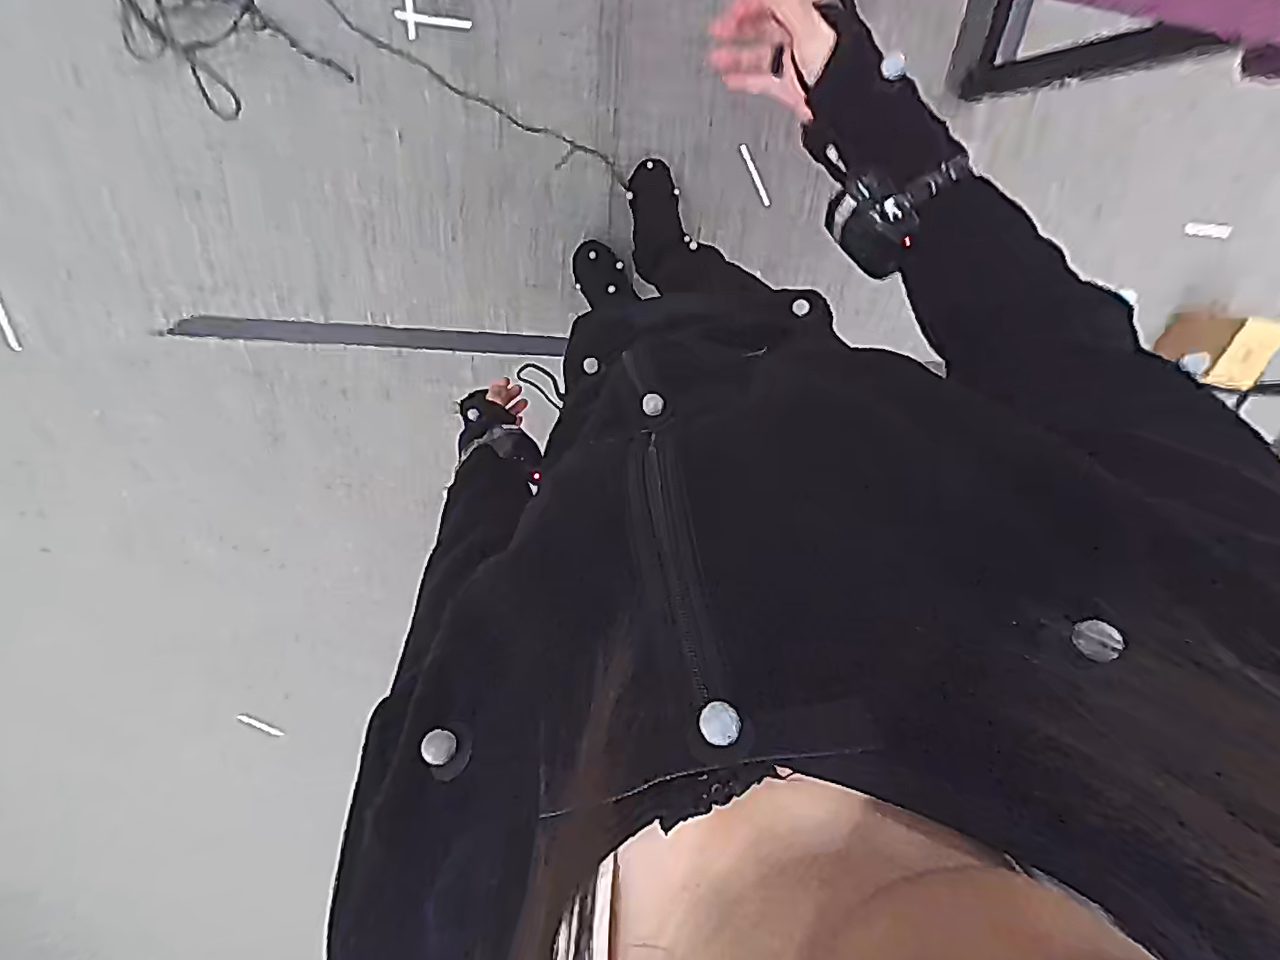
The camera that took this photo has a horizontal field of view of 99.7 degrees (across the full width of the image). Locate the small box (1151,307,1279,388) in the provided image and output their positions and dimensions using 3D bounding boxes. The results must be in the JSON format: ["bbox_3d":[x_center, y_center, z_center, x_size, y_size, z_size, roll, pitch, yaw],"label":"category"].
[{"bbox_3d":[1.615,-0.377,1.521,0.168,0.176,0.179,5,118,-13],"label":"small box"}]
